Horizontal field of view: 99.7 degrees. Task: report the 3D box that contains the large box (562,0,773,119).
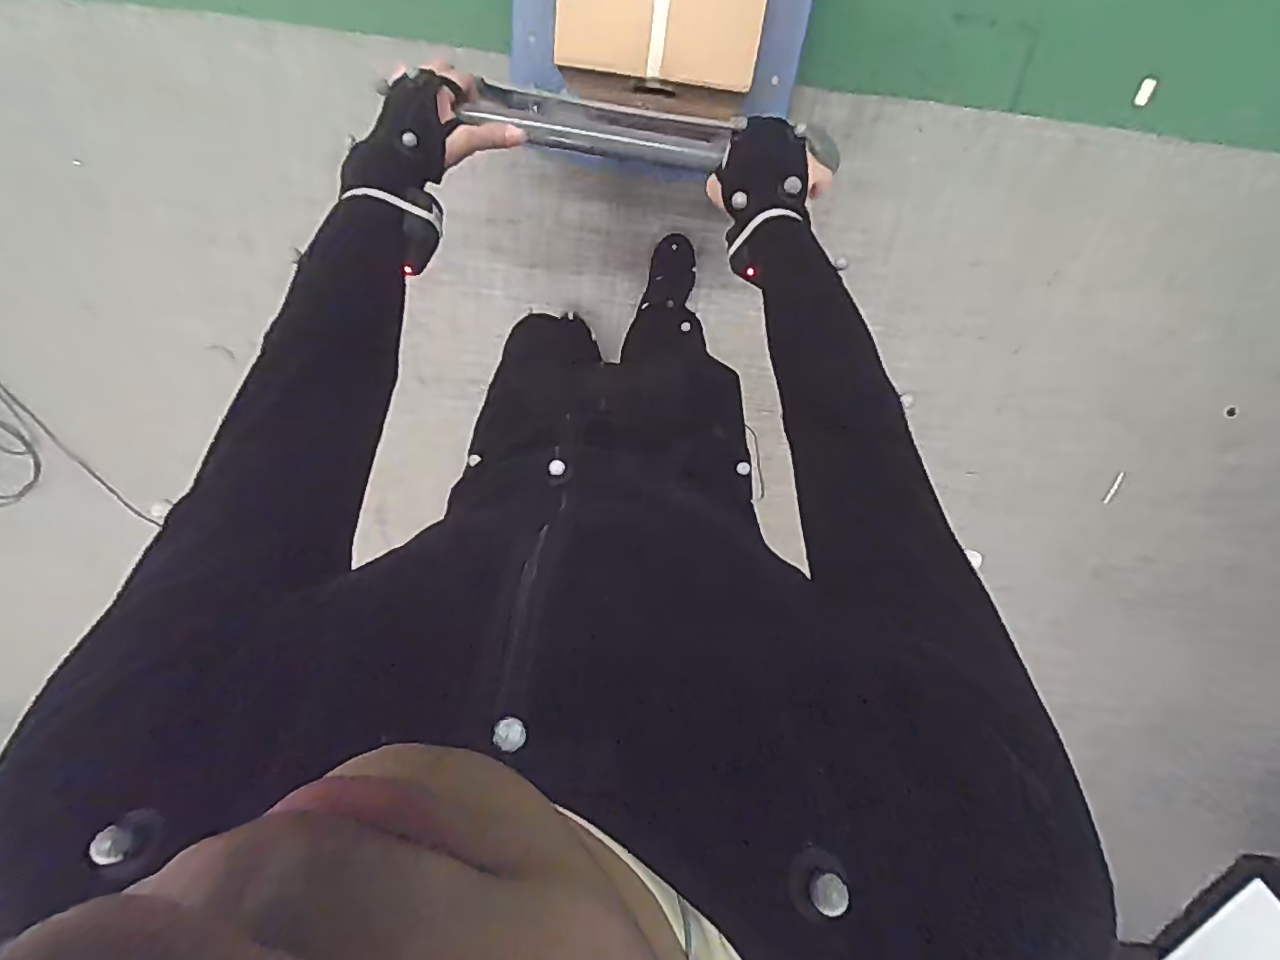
[{"bbox_3d":[0.063,-0.870,0.892,0.320,0.320,0.408,8,116,-1],"label":"large box"}]
